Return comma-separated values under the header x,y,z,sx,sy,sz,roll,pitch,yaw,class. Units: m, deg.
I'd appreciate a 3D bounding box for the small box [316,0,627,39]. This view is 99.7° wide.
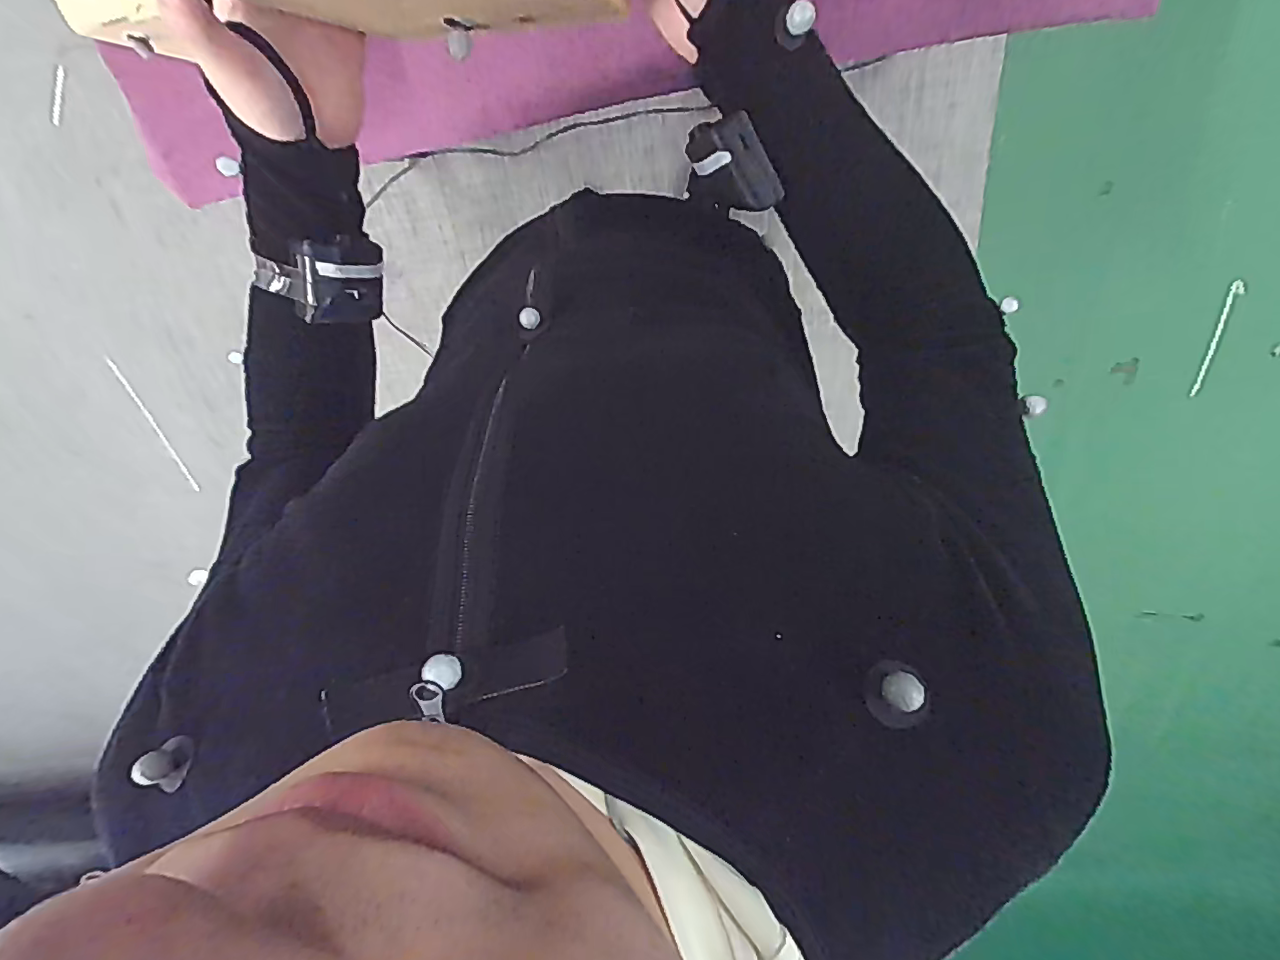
x,y,z,sx,sy,sz,roll,pitch,yaw,class
-0.107,-0.332,0.247,0.168,0.176,0.179,7,123,15,small box
